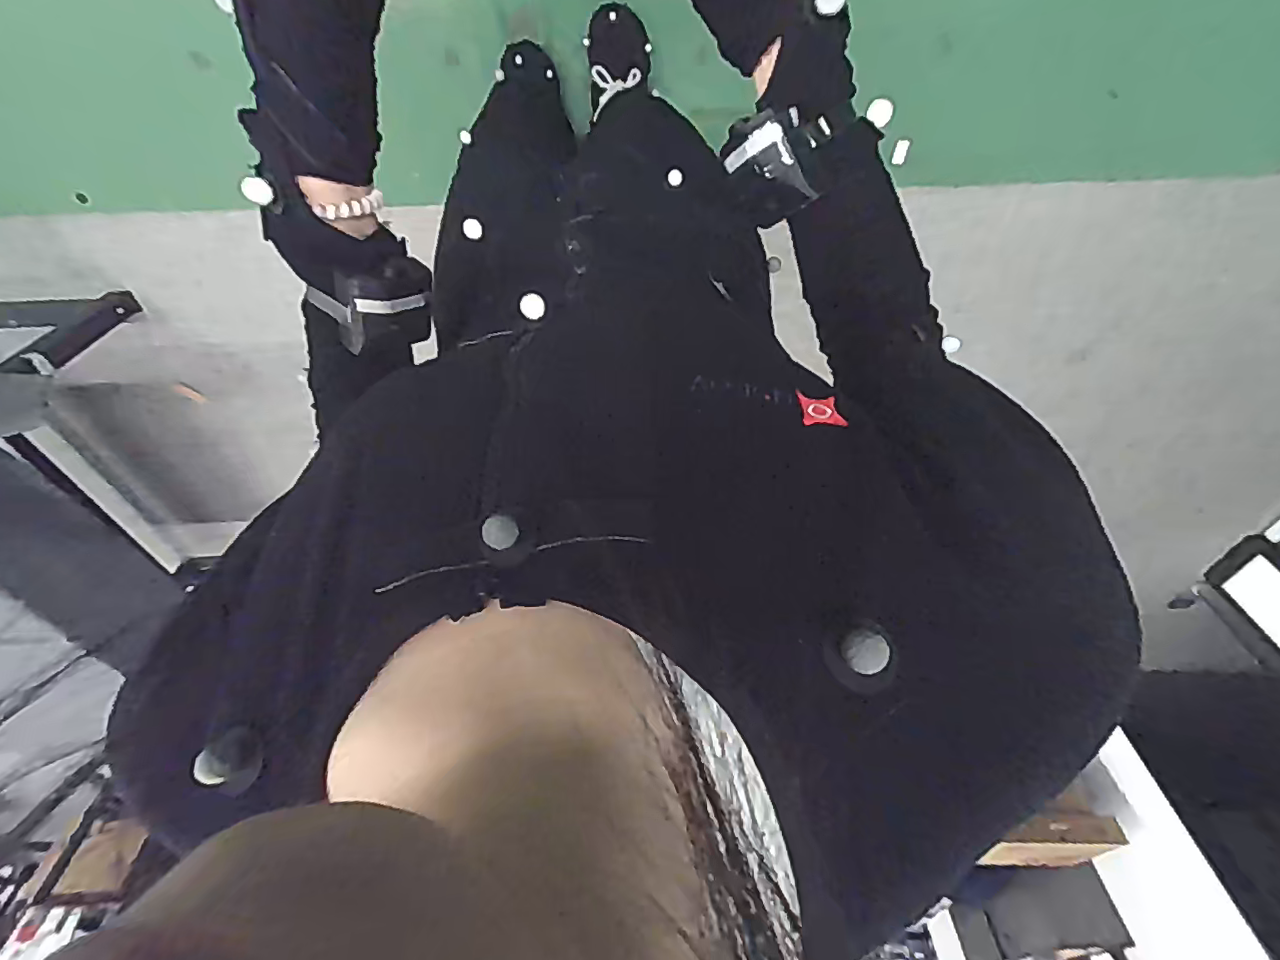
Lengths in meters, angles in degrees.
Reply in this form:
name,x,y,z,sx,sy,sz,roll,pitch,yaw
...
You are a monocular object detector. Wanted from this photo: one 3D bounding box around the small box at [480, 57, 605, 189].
name,x,y,z,sx,sy,sz,roll,pitch,yaw
small box,-0.201,-0.716,1.082,0.179,0.176,0.168,32,133,1
